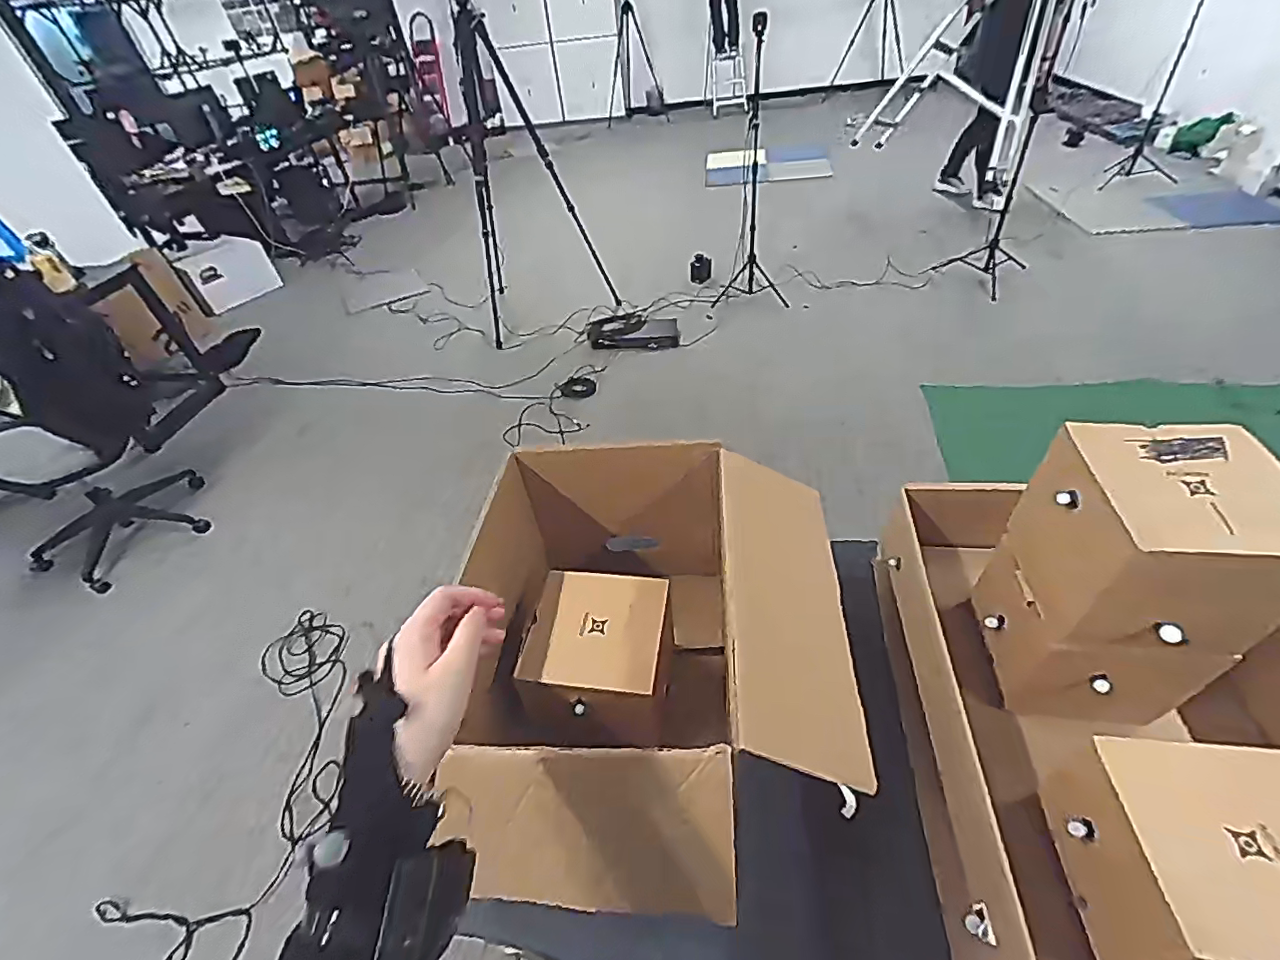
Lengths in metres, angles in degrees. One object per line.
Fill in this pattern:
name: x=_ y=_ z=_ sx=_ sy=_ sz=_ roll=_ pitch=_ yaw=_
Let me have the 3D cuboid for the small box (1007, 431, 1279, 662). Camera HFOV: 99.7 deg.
small box: x=0.531 y=0.069 z=0.578 sx=0.168 sy=0.176 sz=0.179 roll=2 pitch=47 yaw=10
